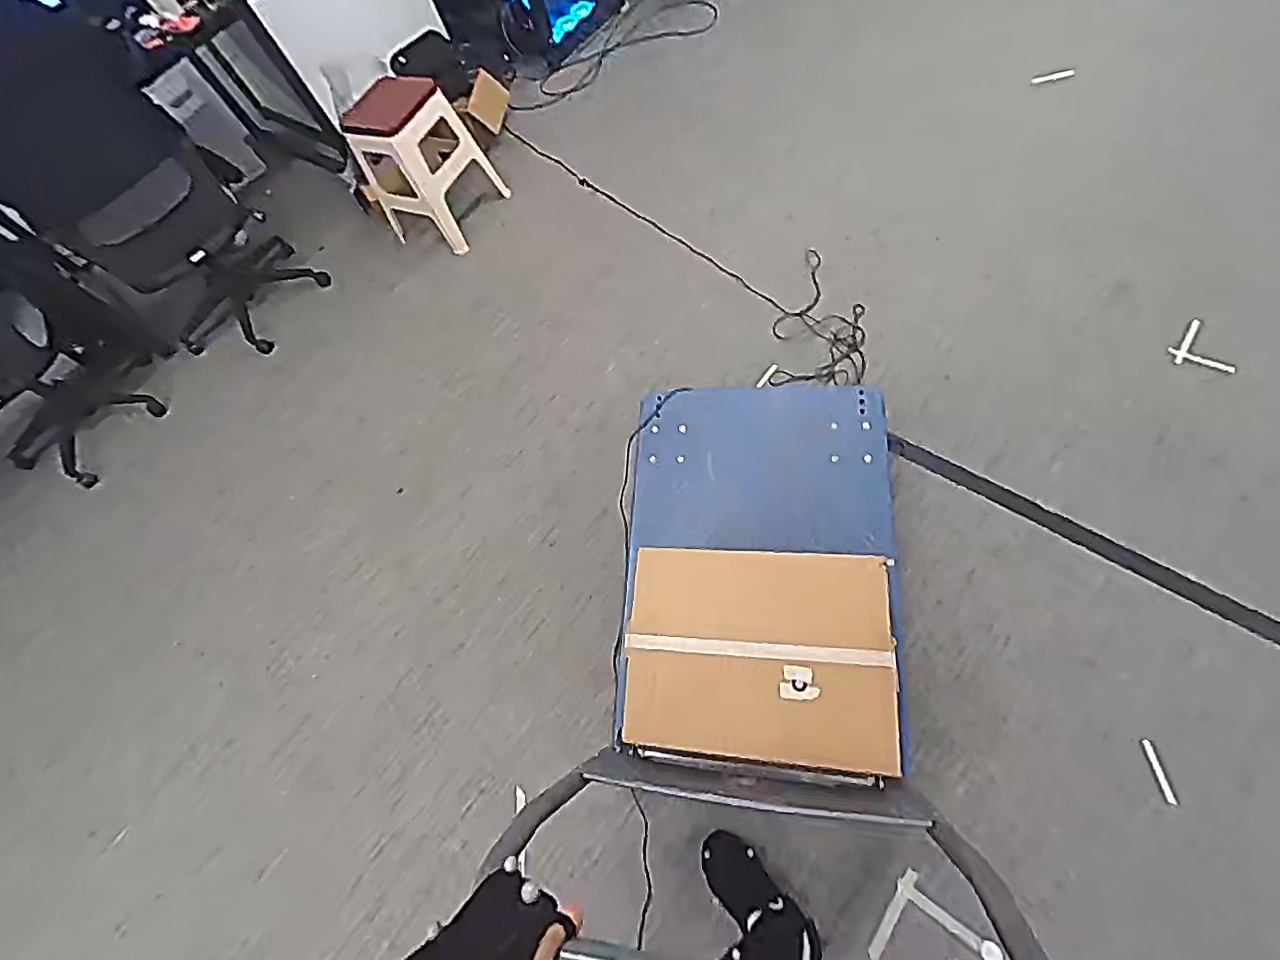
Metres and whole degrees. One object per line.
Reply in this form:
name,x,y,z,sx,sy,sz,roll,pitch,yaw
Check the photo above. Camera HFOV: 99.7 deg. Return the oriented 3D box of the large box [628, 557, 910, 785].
large box,0.211,0.325,0.961,0.408,0.320,0.320,0,71,12
